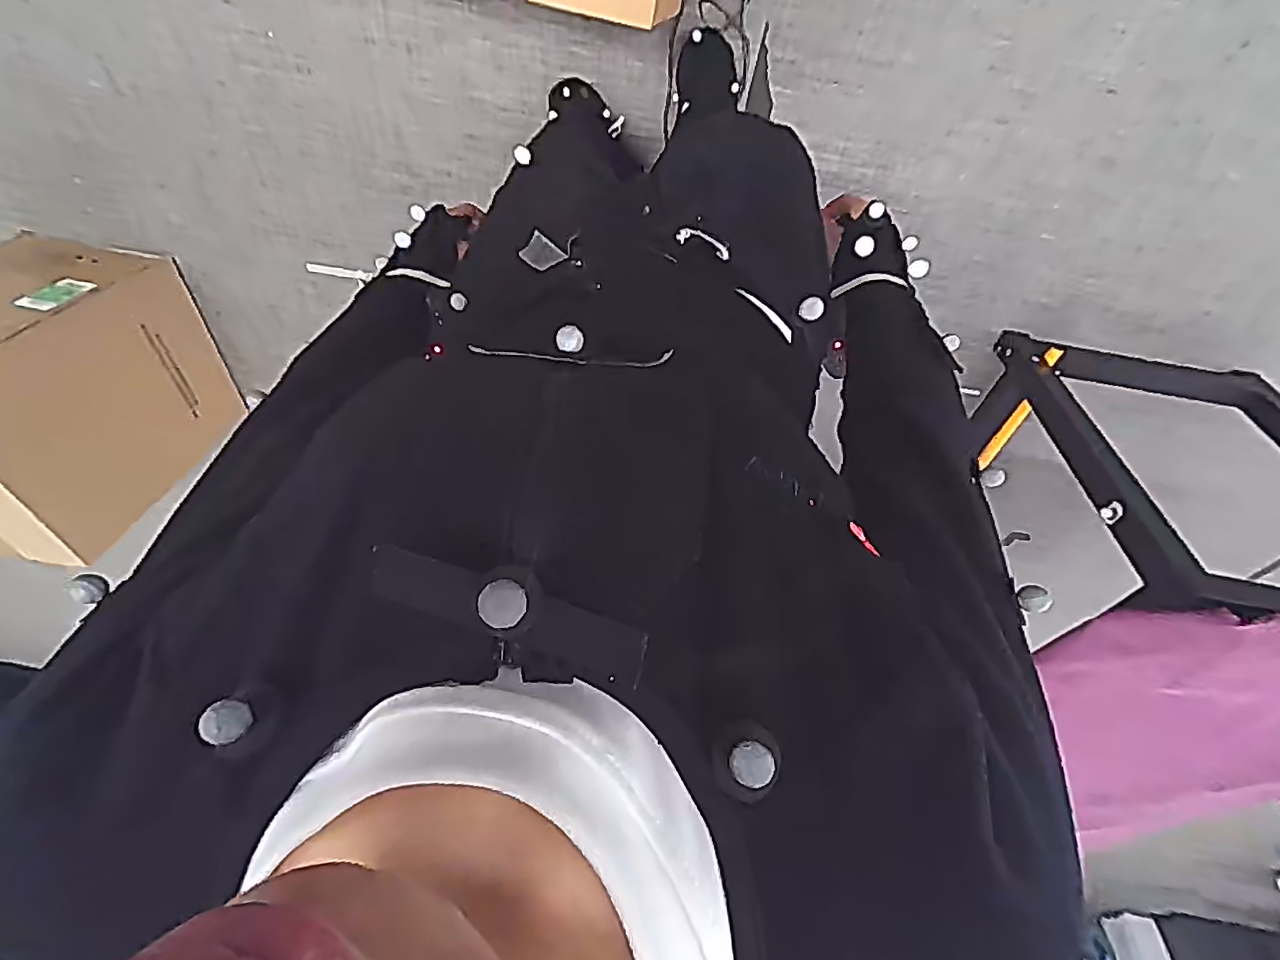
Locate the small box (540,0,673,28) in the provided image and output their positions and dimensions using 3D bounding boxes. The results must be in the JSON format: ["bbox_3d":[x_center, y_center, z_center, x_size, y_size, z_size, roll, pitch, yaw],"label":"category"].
[{"bbox_3d":[-0.032,-0.708,0.683,0.168,0.176,0.179,14,134,0],"label":"small box"}]

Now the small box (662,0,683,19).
[{"bbox_3d":[-0.005,-0.818,0.799,0.168,0.176,0.179,14,135,0],"label":"small box"}]
